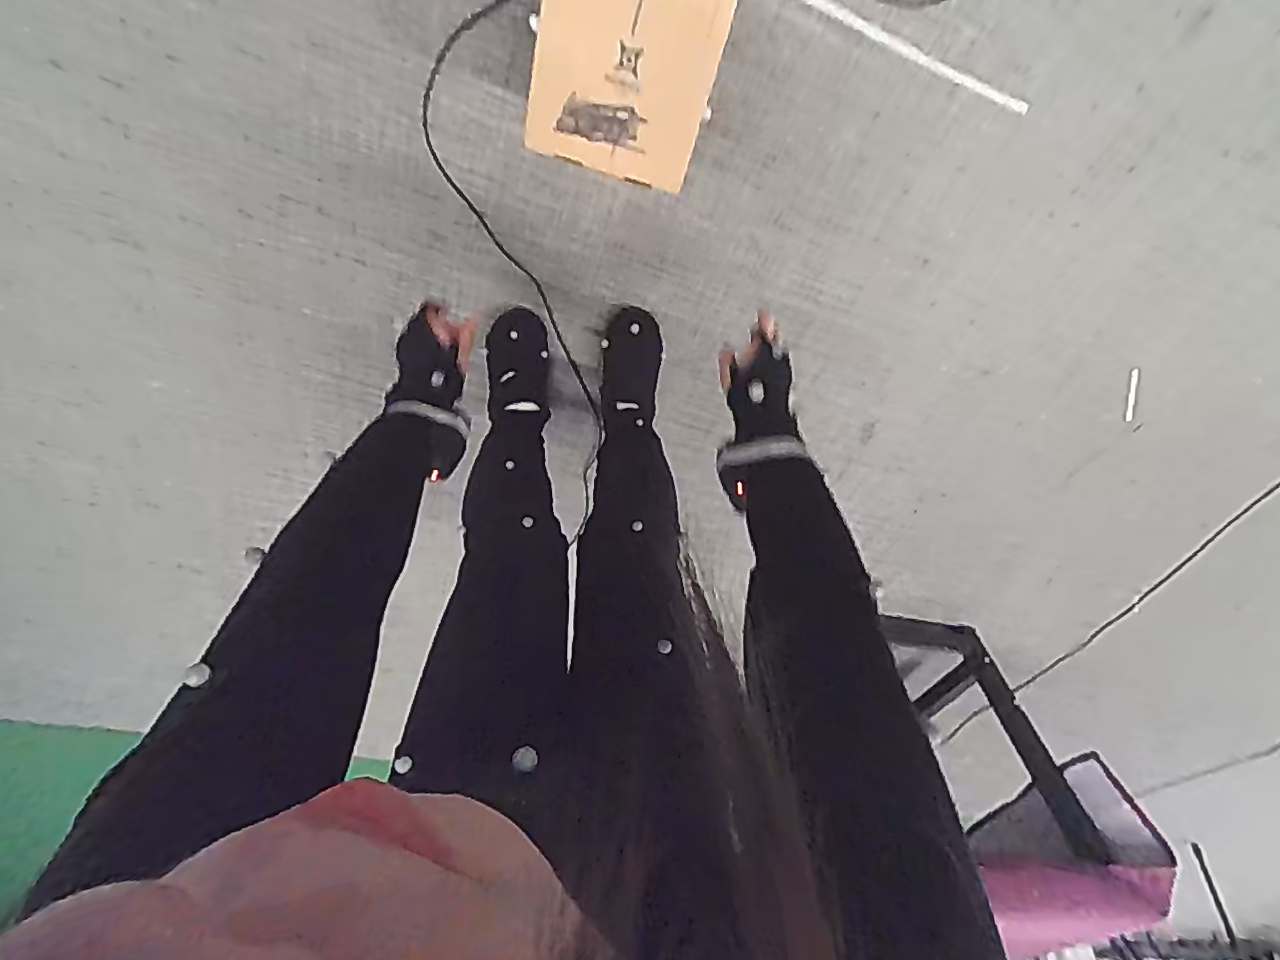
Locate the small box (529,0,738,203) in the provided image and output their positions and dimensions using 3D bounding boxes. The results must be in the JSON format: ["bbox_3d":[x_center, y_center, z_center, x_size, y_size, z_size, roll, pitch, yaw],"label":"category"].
[{"bbox_3d":[-0.013,-0.428,0.575,0.168,0.176,0.179,11,128,-11],"label":"small box"}]
